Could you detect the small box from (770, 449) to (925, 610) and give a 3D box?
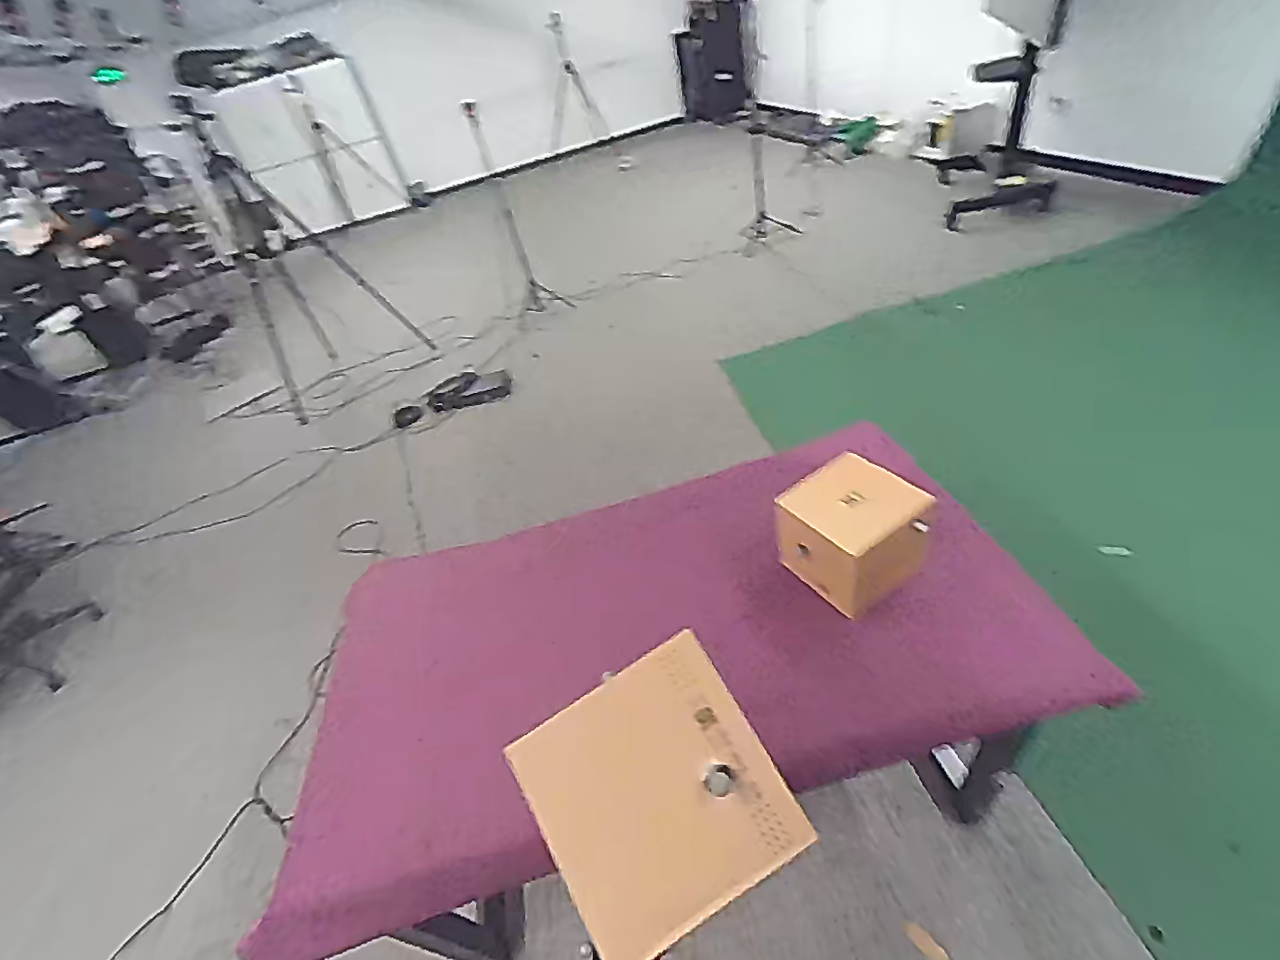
[{"bbox_3d":[0.343,0.083,0.907,0.179,0.176,0.168,-30,42,-17],"label":"small box"}]

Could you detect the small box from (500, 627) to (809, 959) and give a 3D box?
[{"bbox_3d":[0.017,0.241,0.454,0.176,0.179,0.168,-32,71,-6],"label":"small box"}]
